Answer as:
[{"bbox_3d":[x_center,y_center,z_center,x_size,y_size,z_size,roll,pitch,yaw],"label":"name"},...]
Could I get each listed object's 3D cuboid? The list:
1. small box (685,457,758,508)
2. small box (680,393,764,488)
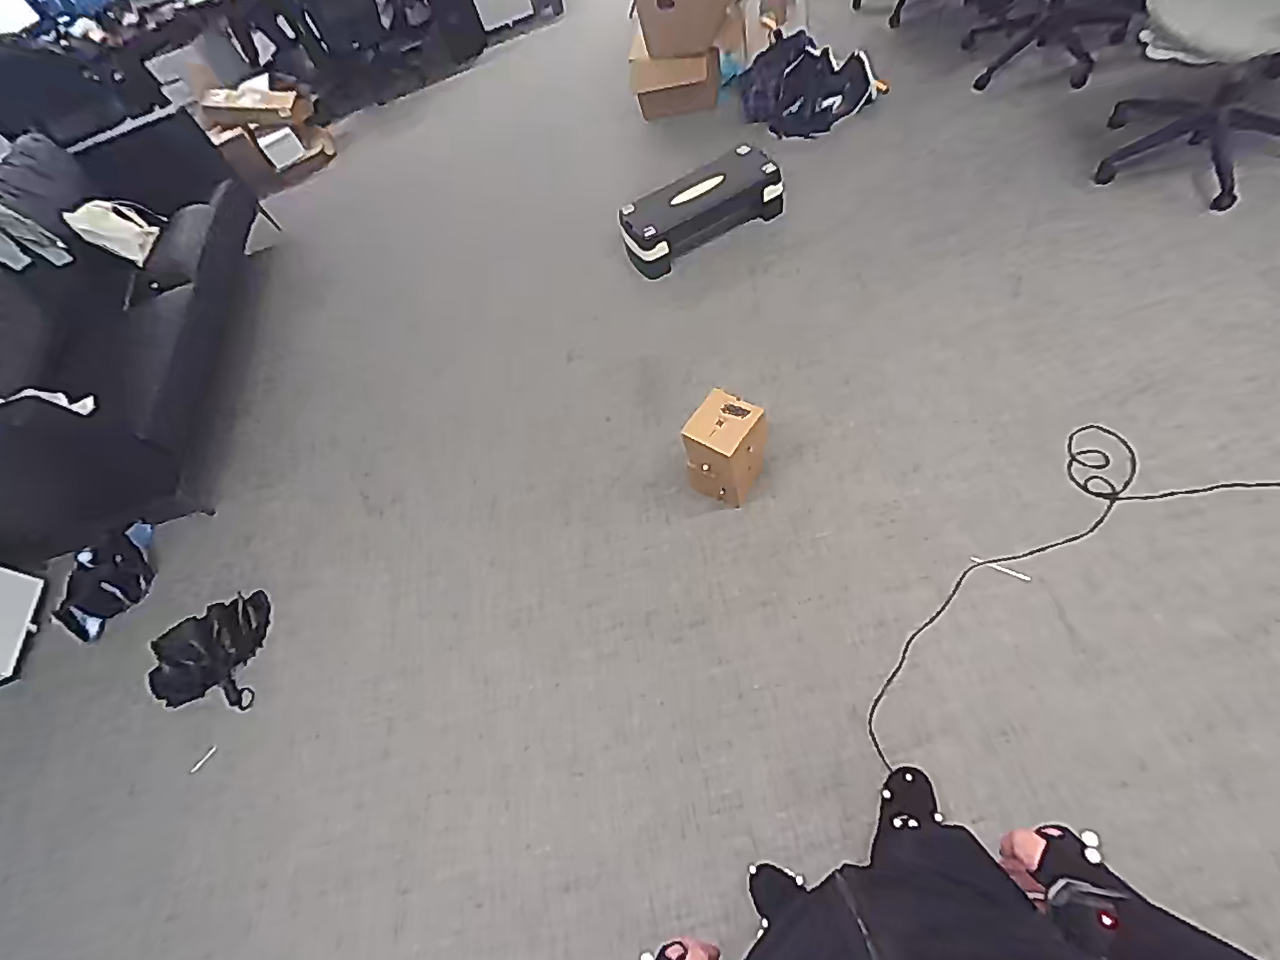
[{"bbox_3d":[0.263,-0.037,1.692,0.168,0.176,0.179,22,67,25],"label":"small box"},{"bbox_3d":[0.239,-0.111,1.547,0.168,0.176,0.179,30,72,28],"label":"small box"}]
